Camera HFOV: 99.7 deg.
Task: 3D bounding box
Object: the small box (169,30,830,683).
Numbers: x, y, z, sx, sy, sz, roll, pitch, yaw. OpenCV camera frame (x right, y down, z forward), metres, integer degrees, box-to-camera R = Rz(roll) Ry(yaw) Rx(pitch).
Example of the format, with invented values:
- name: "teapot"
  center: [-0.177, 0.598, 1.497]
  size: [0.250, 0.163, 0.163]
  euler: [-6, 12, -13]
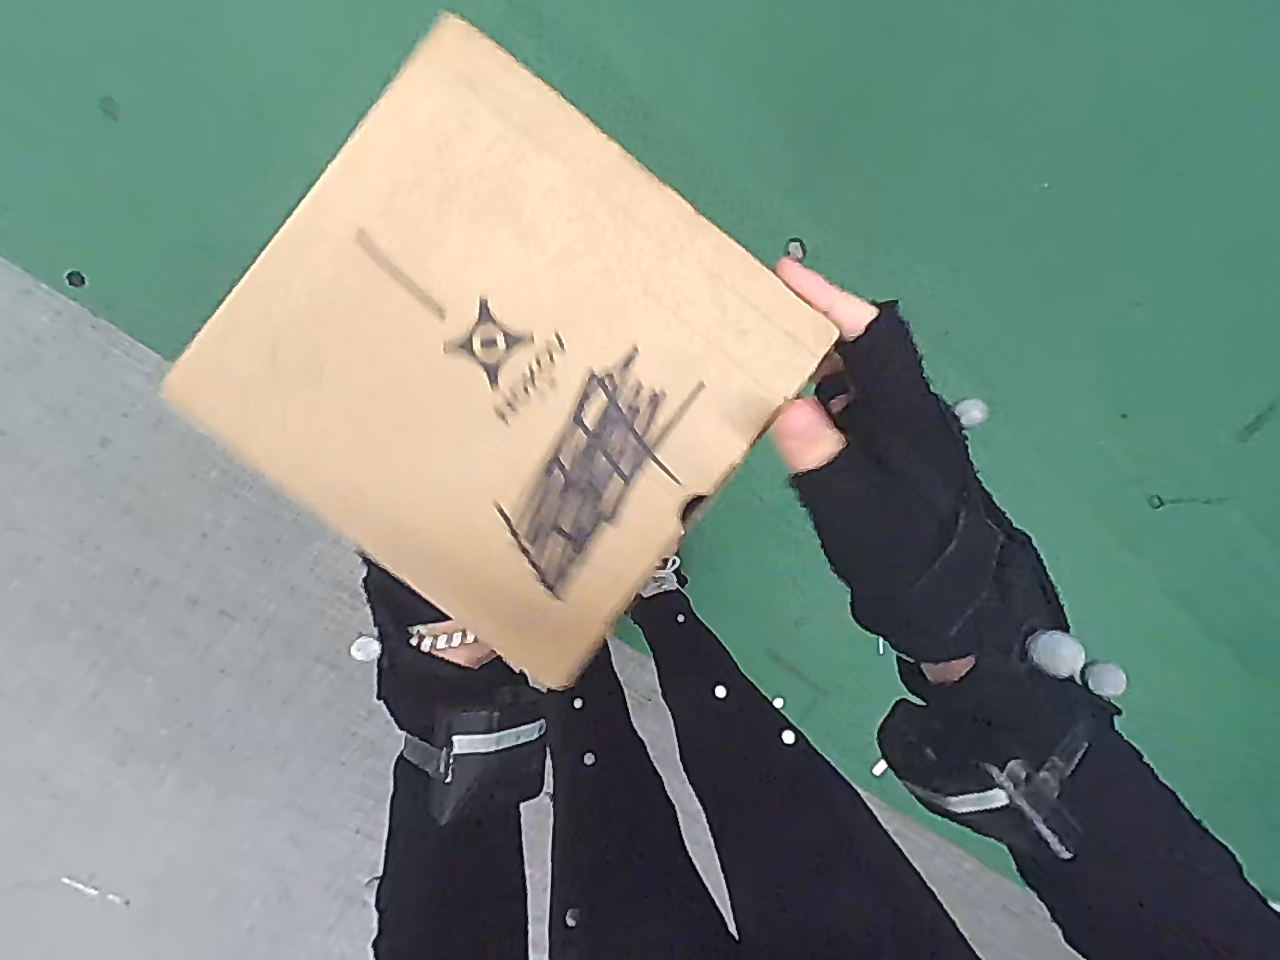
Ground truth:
- name: "small box"
  center: [-0.051, -0.044, 0.270]
  size: [0.179, 0.176, 0.168]
  euler: [35, 92, -9]
